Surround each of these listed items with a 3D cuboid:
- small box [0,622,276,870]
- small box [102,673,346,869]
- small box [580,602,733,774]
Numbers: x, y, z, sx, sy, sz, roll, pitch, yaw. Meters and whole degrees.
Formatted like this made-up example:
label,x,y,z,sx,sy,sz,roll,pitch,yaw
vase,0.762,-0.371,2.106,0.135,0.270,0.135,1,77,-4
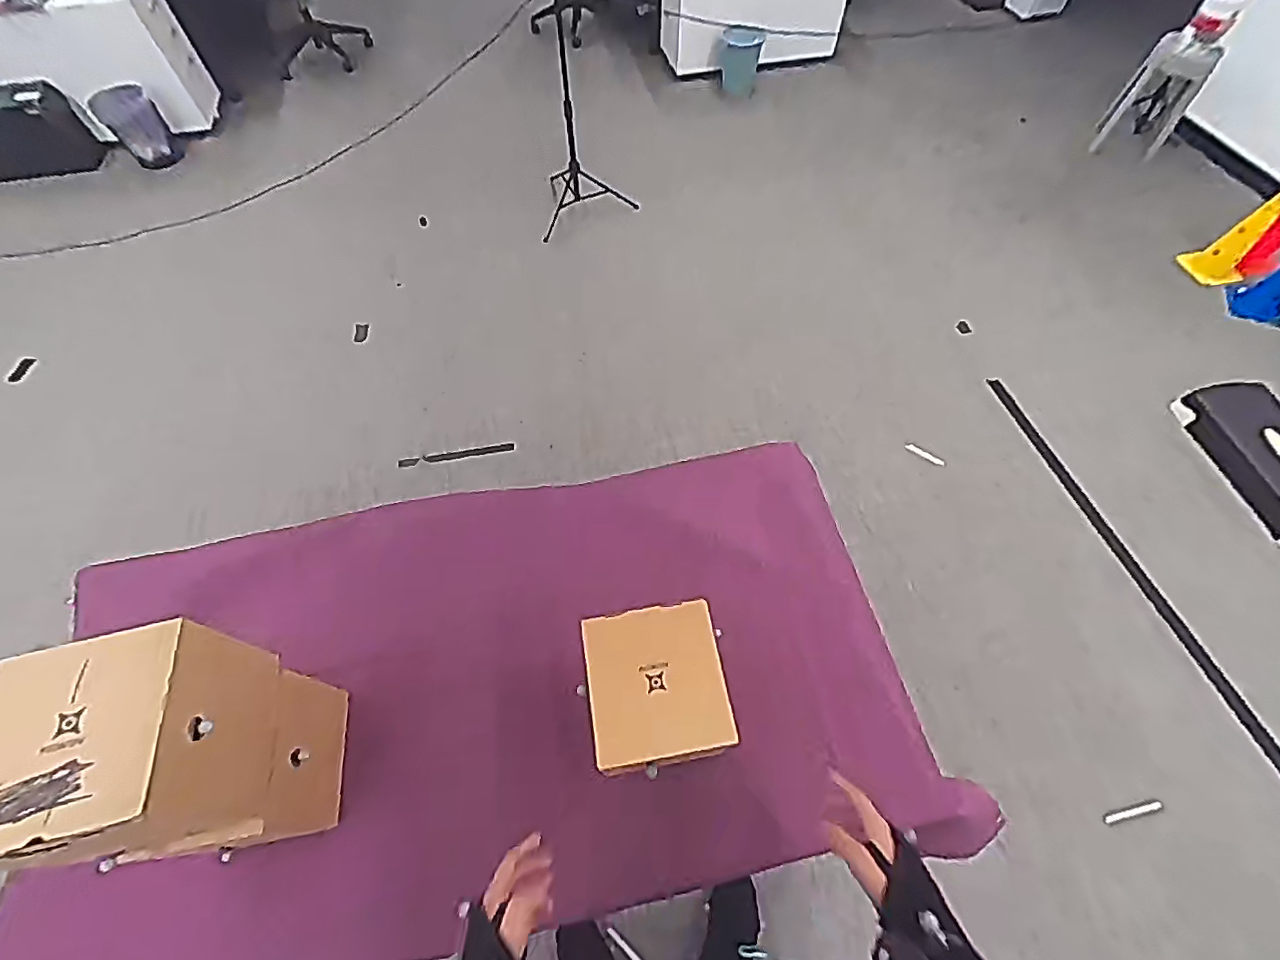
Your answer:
label,x,y,z,sx,sy,sz,roll,pitch,yaw
small box,-0.502,0.266,0.544,0.168,0.176,0.179,-12,59,-7
small box,-0.495,0.360,0.680,0.168,0.176,0.179,-8,59,-6
small box,0.018,0.285,0.726,0.168,0.176,0.179,-9,58,-5
